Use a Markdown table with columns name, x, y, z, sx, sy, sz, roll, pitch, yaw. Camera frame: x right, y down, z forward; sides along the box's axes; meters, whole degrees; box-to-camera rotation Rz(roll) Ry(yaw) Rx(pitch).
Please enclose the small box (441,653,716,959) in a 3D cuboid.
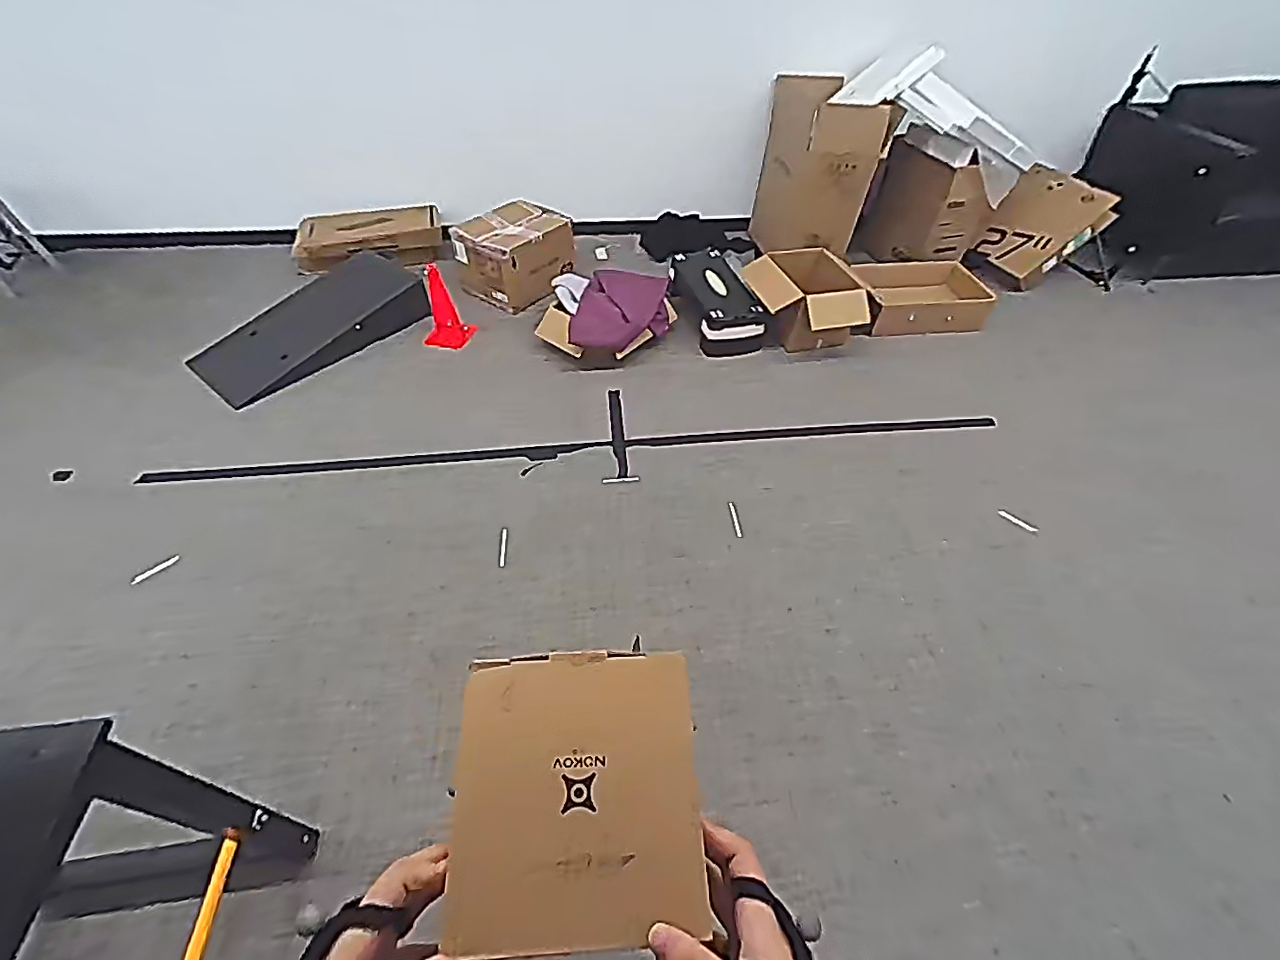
| name | x | y | z | sx | sy | sz | roll | pitch | yaw |
| --- | --- | --- | --- | --- | --- | --- | --- | --- | --- |
| small box | -0.044 | 0.248 | 0.429 | 0.168 | 0.176 | 0.179 | -1 | 59 | -4 |
